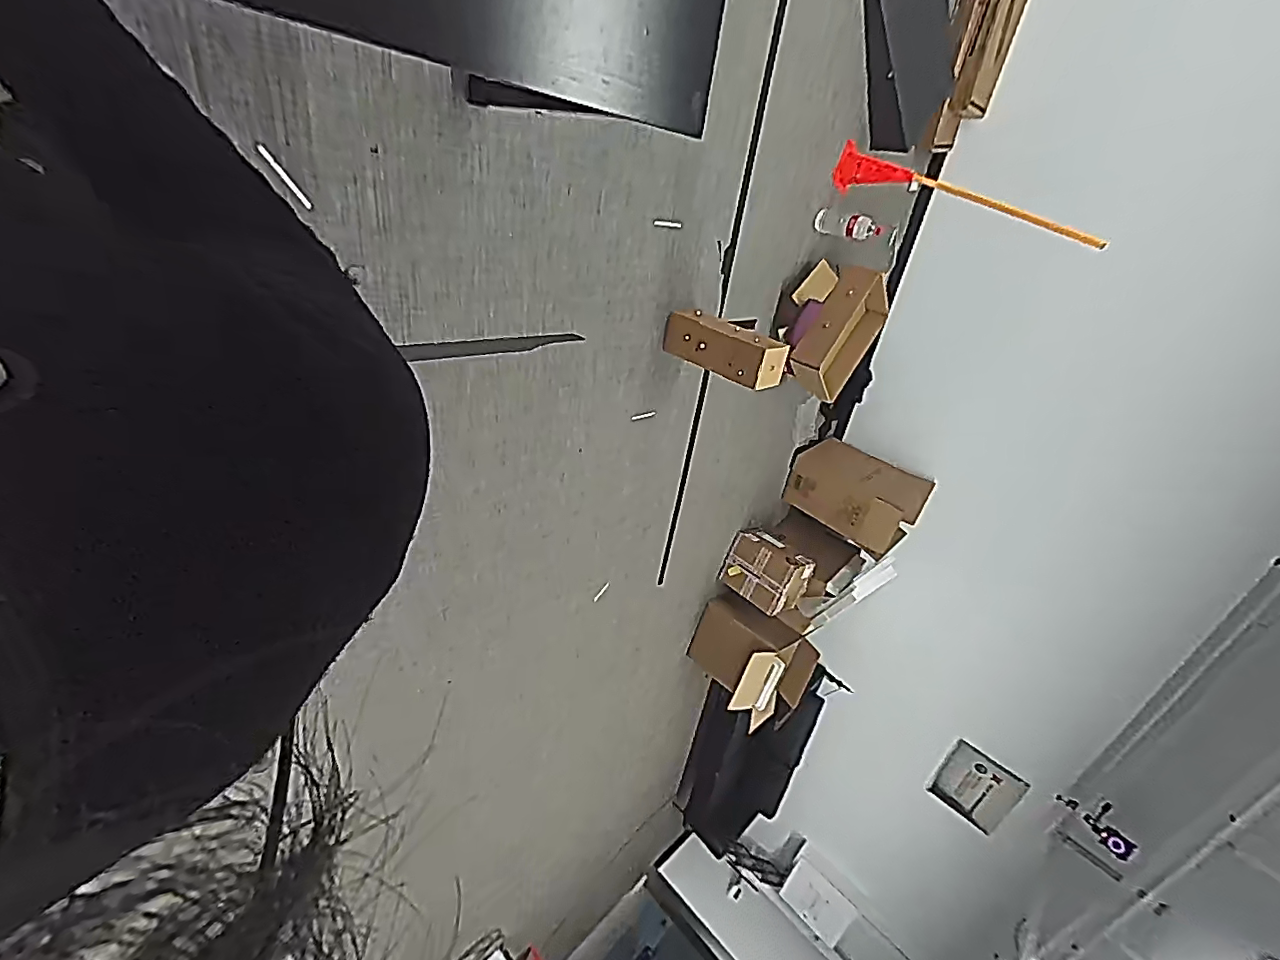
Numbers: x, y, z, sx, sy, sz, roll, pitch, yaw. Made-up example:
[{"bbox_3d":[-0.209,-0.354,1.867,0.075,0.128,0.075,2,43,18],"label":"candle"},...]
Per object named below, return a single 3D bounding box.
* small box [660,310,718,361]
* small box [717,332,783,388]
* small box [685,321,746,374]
[{"bbox_3d":[0.204,-0.627,2.320,0.168,0.176,0.179,-19,131,-42],"label":"small box"},{"bbox_3d":[0.431,-0.478,2.138,0.179,0.176,0.168,-21,133,-43],"label":"small box"},{"bbox_3d":[0.316,-0.551,2.226,0.179,0.176,0.168,-19,130,-42],"label":"small box"}]
